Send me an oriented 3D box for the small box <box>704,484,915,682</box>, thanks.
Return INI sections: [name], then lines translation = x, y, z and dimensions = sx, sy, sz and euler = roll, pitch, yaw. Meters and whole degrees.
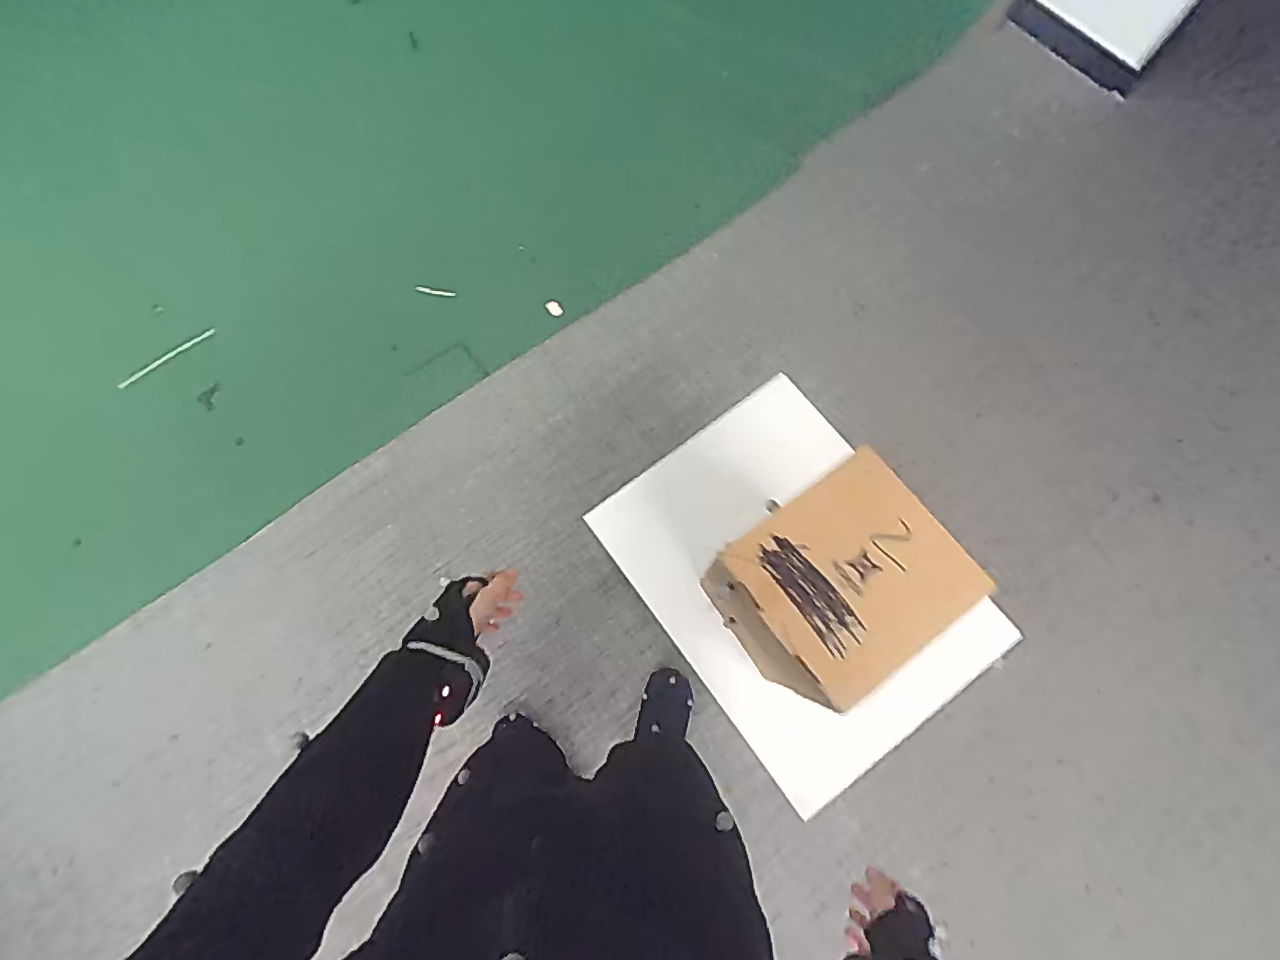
[small box]
translation = 0.200, 0.134, 0.697
dimensions = 0.179, 0.176, 0.168
euler = -33, 75, -8
